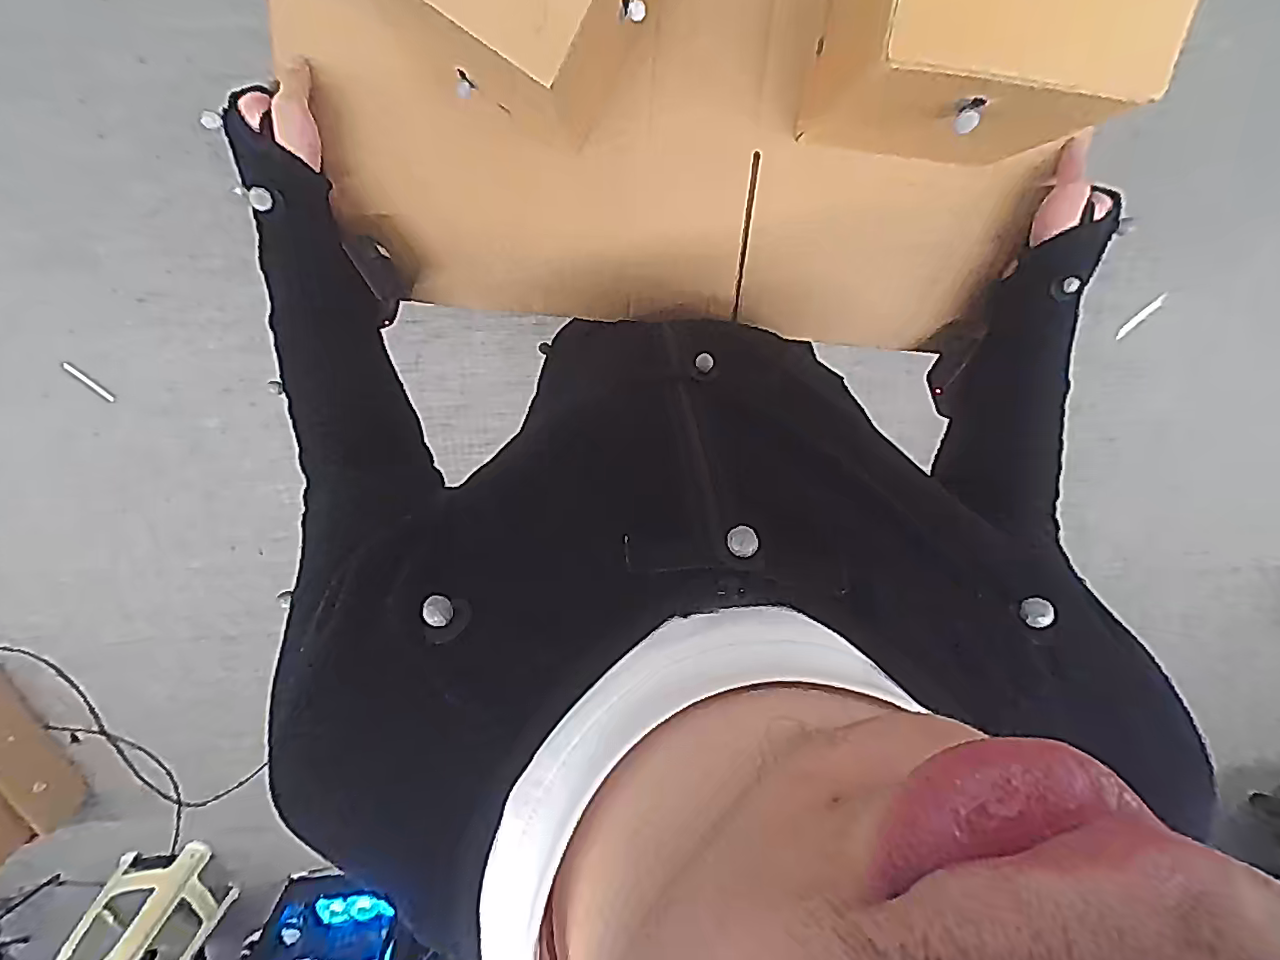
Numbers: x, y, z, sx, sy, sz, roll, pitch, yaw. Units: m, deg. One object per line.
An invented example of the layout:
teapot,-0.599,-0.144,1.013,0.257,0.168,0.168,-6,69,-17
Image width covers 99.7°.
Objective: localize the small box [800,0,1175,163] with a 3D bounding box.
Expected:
small box,0.238,-0.344,0.388,0.179,0.176,0.168,6,108,-3
